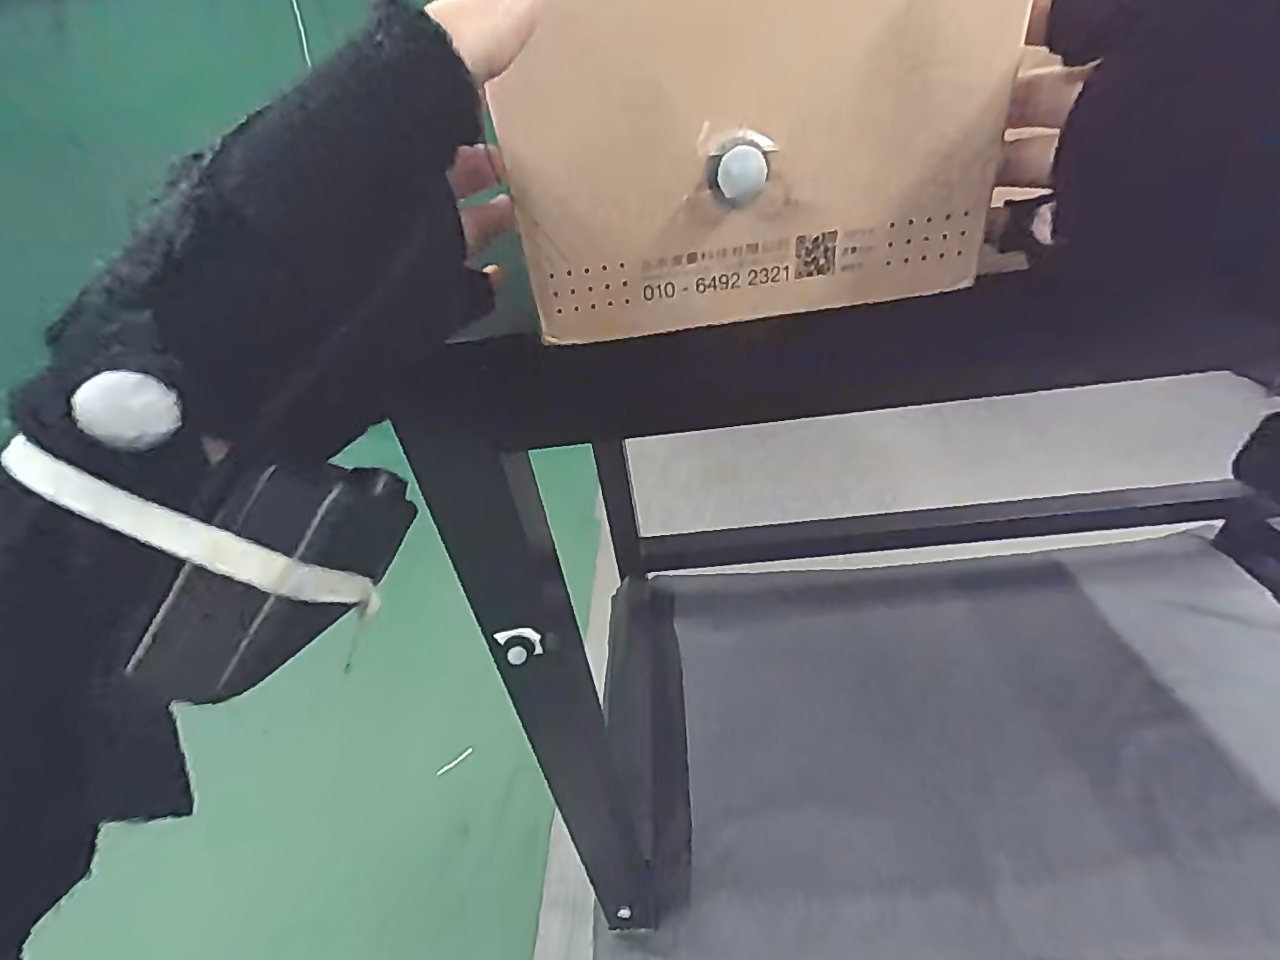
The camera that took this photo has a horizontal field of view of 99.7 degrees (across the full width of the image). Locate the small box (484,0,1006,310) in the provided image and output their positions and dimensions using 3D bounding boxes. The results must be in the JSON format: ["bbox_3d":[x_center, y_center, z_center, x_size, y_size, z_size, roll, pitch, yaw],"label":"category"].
[{"bbox_3d":[0.030,-0.184,0.238,0.168,0.176,0.179,-8,32,2],"label":"small box"}]
